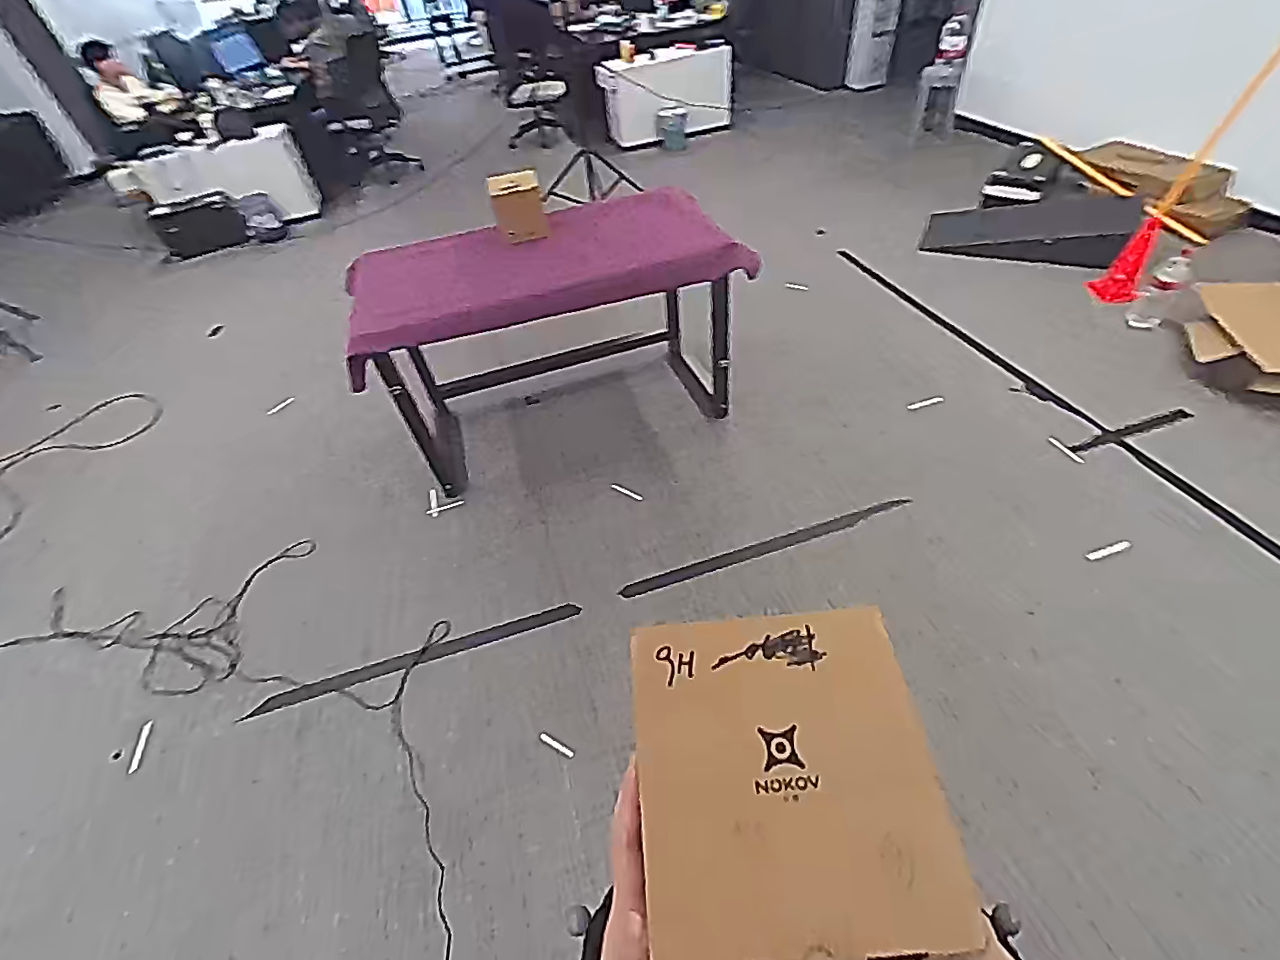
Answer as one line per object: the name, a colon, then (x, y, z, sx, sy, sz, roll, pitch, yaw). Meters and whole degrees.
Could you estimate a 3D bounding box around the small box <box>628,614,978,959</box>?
small box: (0.084, 0.210, 0.375, 0.168, 0.176, 0.179, -6, 56, 0)

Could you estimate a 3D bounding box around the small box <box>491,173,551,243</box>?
small box: (-0.419, -0.954, 1.909, 0.168, 0.176, 0.179, -14, 47, -5)
